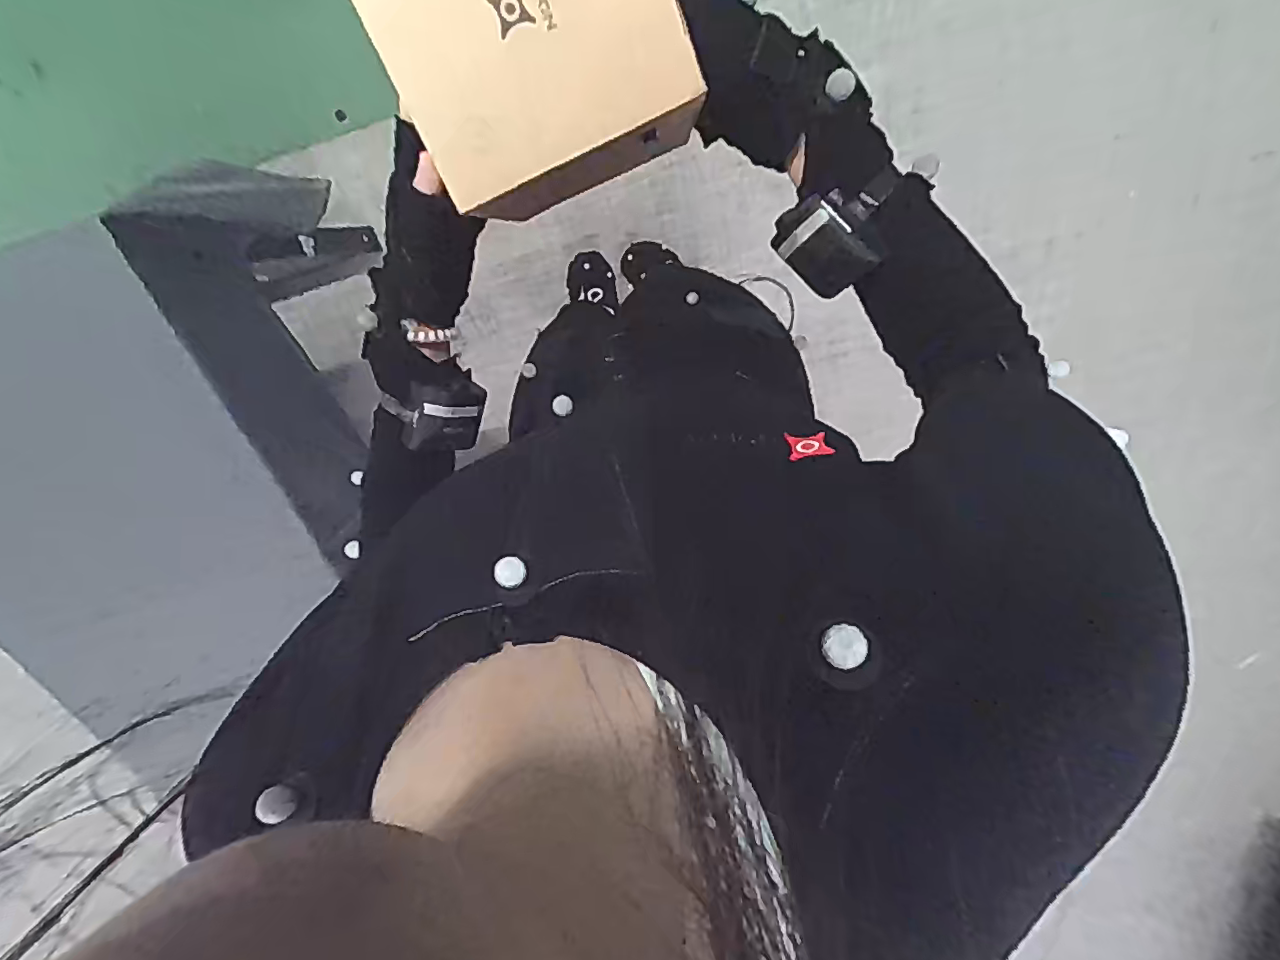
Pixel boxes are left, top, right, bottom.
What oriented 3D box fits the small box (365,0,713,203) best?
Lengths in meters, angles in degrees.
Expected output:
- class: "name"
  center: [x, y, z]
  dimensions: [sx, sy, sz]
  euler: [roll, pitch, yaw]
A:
- class: "small box"
  center: [-0.065, -0.308, 0.369]
  dimensions: [0.179, 0.176, 0.168]
  euler: [-21, 112, 7]
